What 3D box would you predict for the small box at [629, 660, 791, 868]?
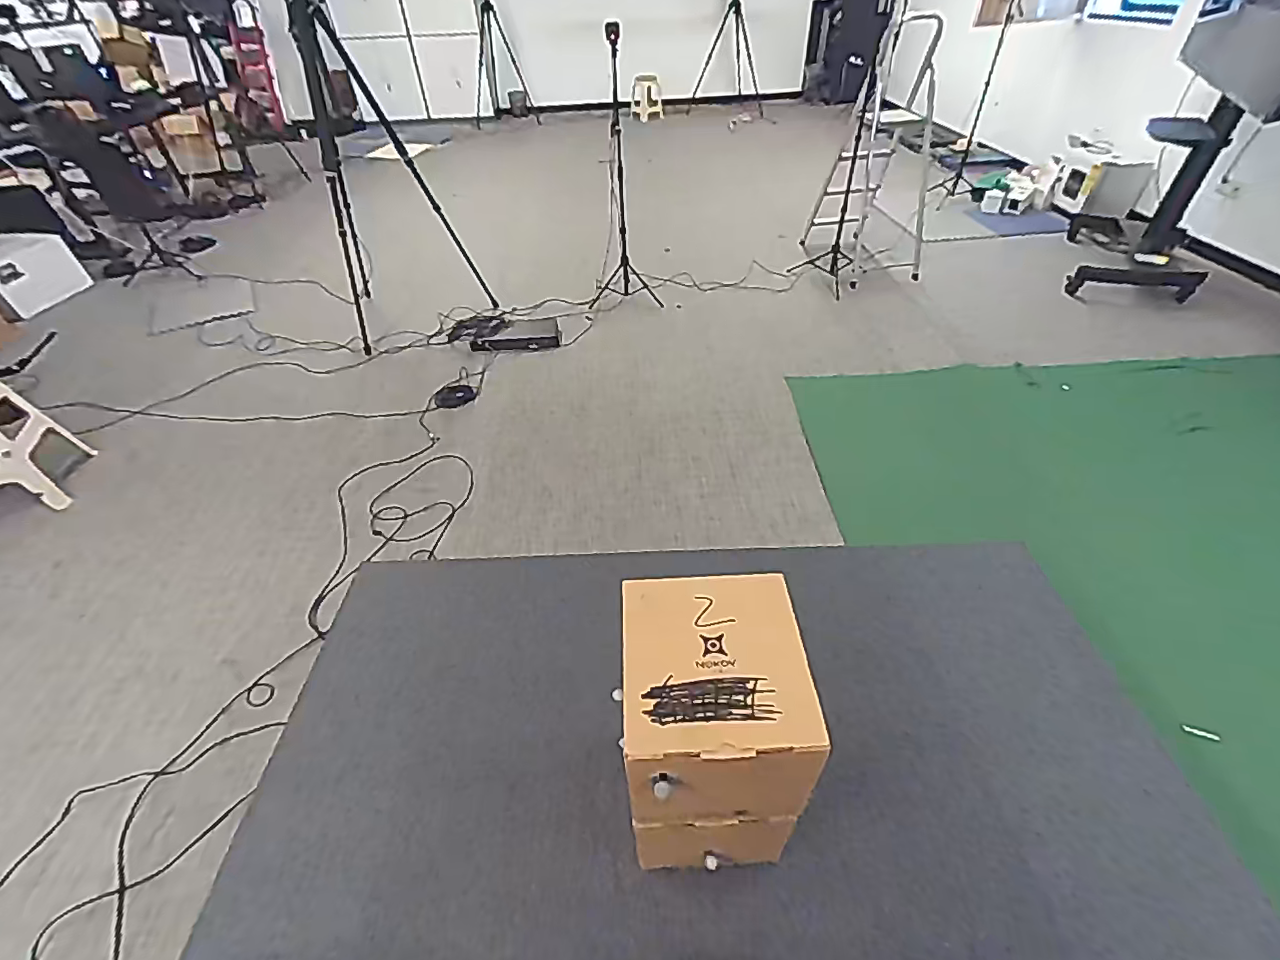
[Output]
[{"bbox_3d":[0.070,0.342,0.656,0.168,0.176,0.179,-3,43,0],"label":"small box"}]
